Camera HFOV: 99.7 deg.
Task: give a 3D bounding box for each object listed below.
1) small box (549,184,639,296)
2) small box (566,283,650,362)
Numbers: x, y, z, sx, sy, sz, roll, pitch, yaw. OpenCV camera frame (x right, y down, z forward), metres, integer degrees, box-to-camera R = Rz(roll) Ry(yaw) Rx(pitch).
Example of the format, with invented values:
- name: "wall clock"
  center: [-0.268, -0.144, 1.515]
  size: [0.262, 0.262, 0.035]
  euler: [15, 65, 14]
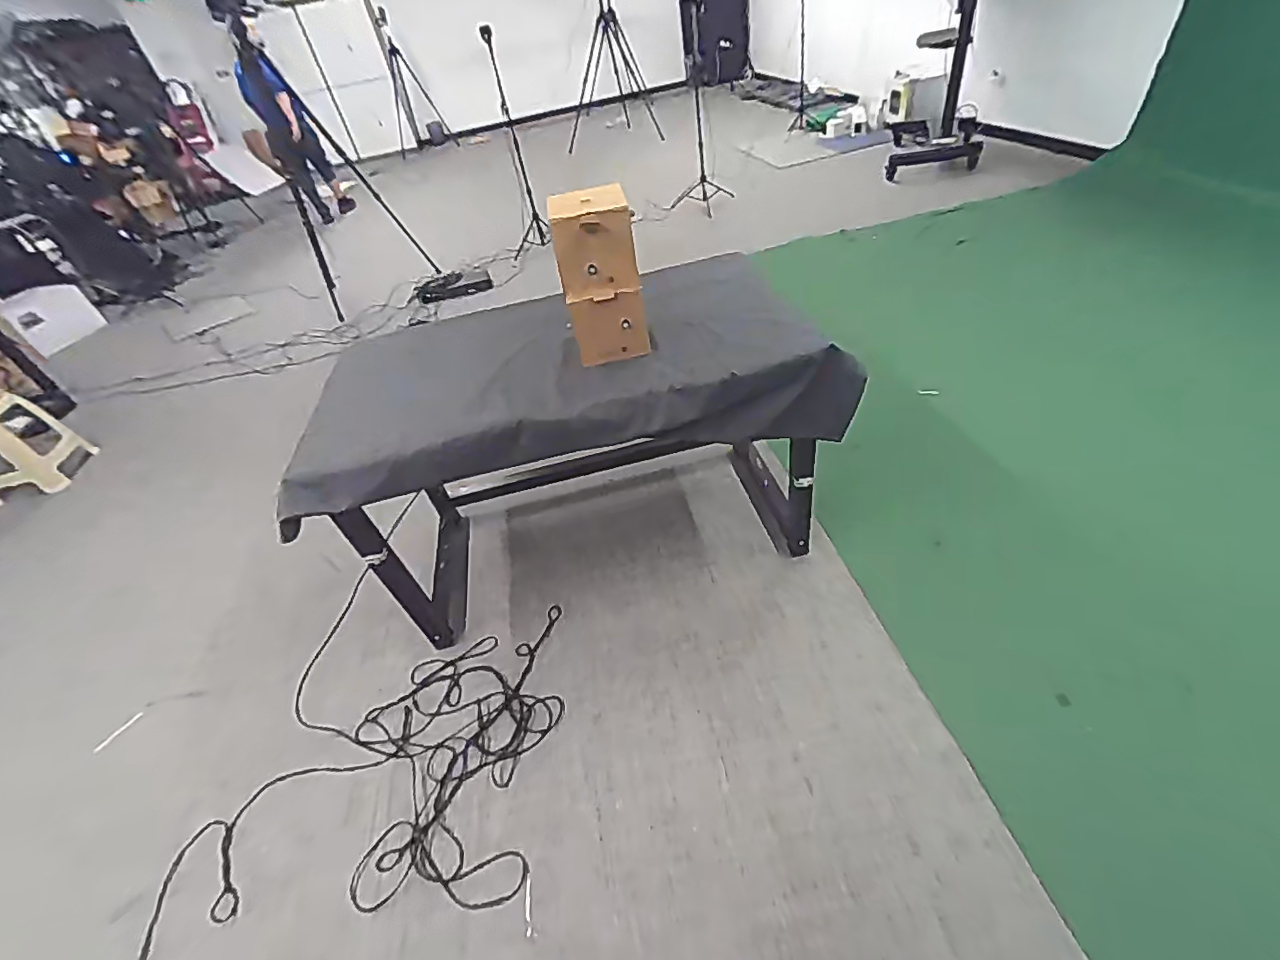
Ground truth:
- name: "small box"
  center: [-0.100, -0.523, 1.182]
  size: [0.168, 0.176, 0.179]
  euler: [-11, 43, 0]
- name: "small box"
  center: [-0.077, -0.392, 1.277]
  size: [0.168, 0.176, 0.179]
  euler: [-12, 41, -1]
